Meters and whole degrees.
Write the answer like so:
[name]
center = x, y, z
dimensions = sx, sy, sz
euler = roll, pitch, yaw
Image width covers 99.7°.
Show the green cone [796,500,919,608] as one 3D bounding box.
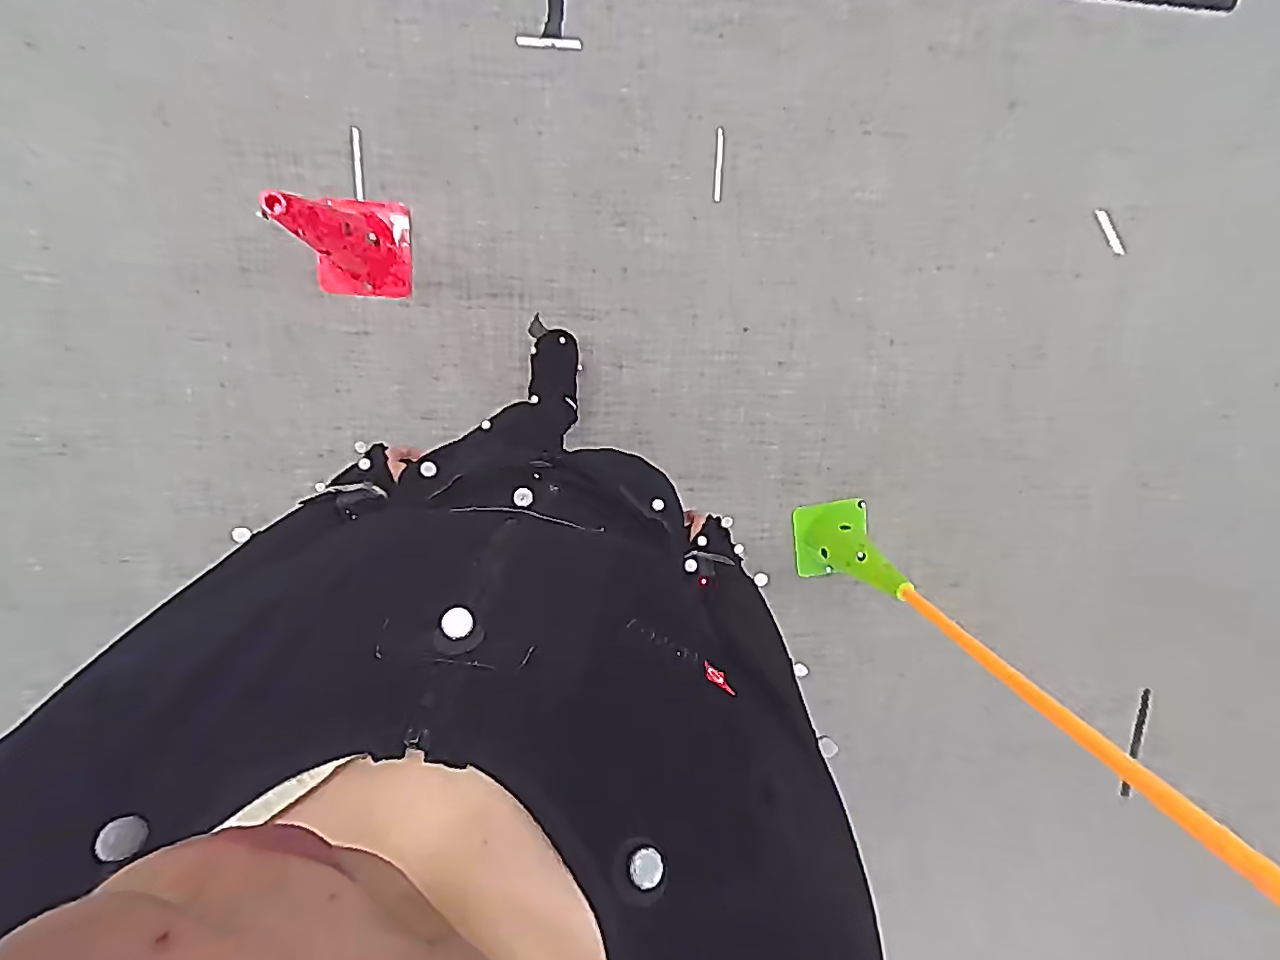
[green cone]
center = 0.532, 0.199, 1.278
dimensions = 0.200, 0.368, 0.202
euler = -10, 104, -3
